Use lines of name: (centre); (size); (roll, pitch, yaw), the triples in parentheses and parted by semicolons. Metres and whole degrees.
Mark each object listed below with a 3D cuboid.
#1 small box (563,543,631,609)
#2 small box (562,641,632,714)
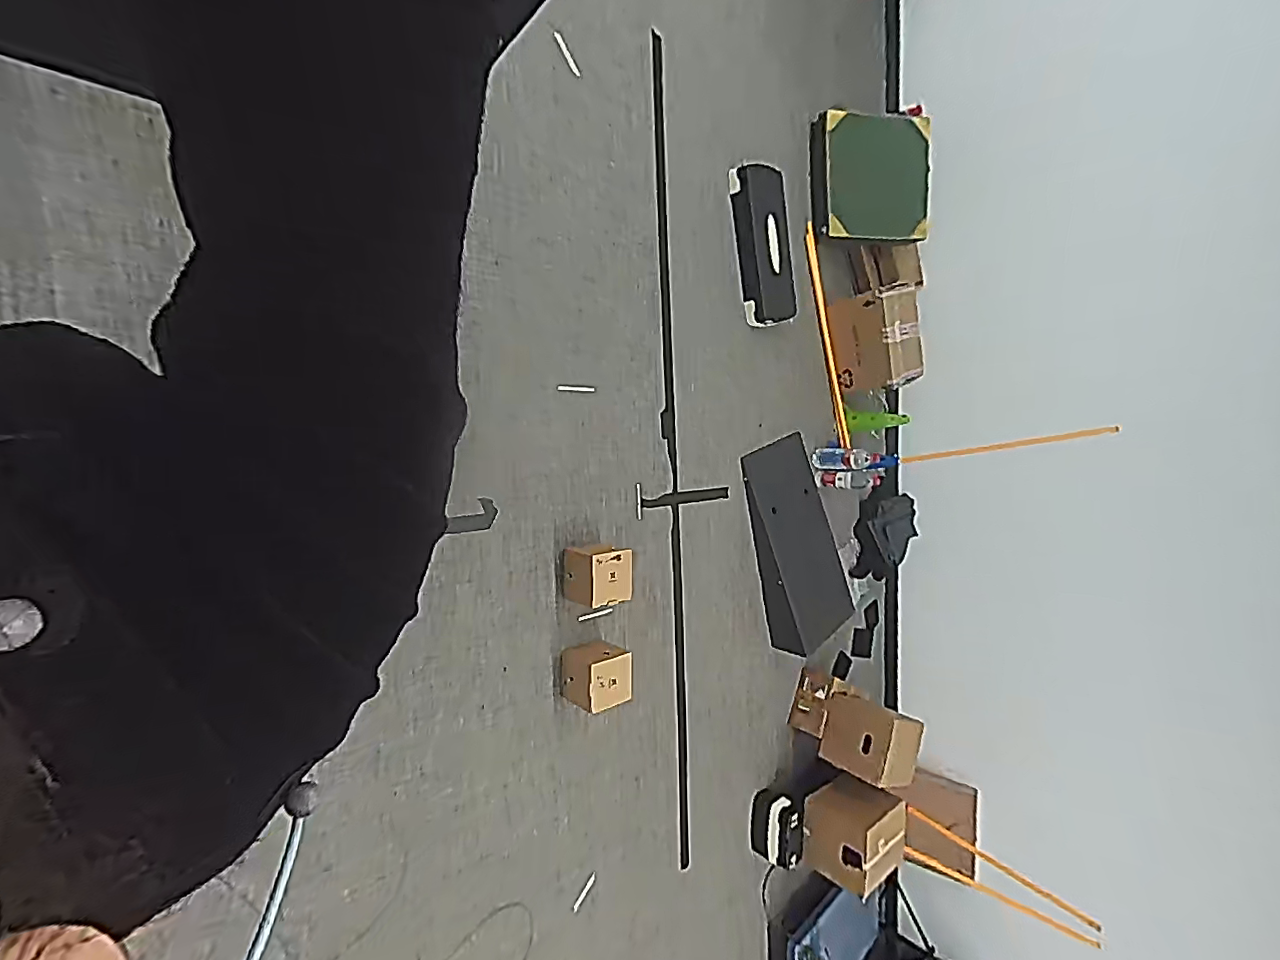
small box: (-0.148, 0.317, 1.825); (0.168, 0.176, 0.179); (-3, 95, -42)
small box: (-0.147, 0.665, 1.844); (0.179, 0.176, 0.168); (-3, 94, -42)
